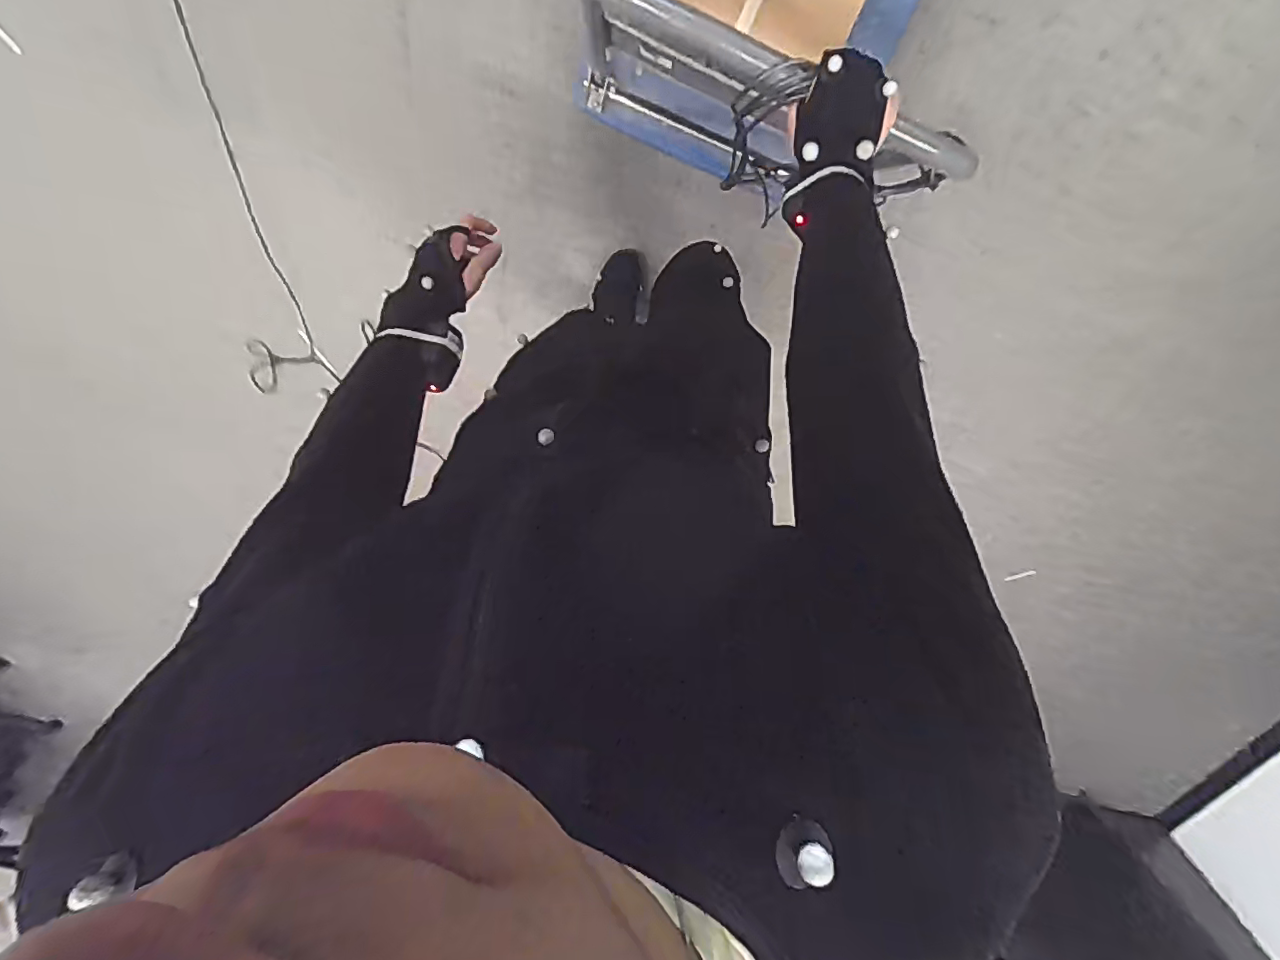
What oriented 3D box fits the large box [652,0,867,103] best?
[{"bbox_3d":[0.230,-0.906,0.857,0.320,0.320,0.408,21,116,-11],"label":"large box"}]
